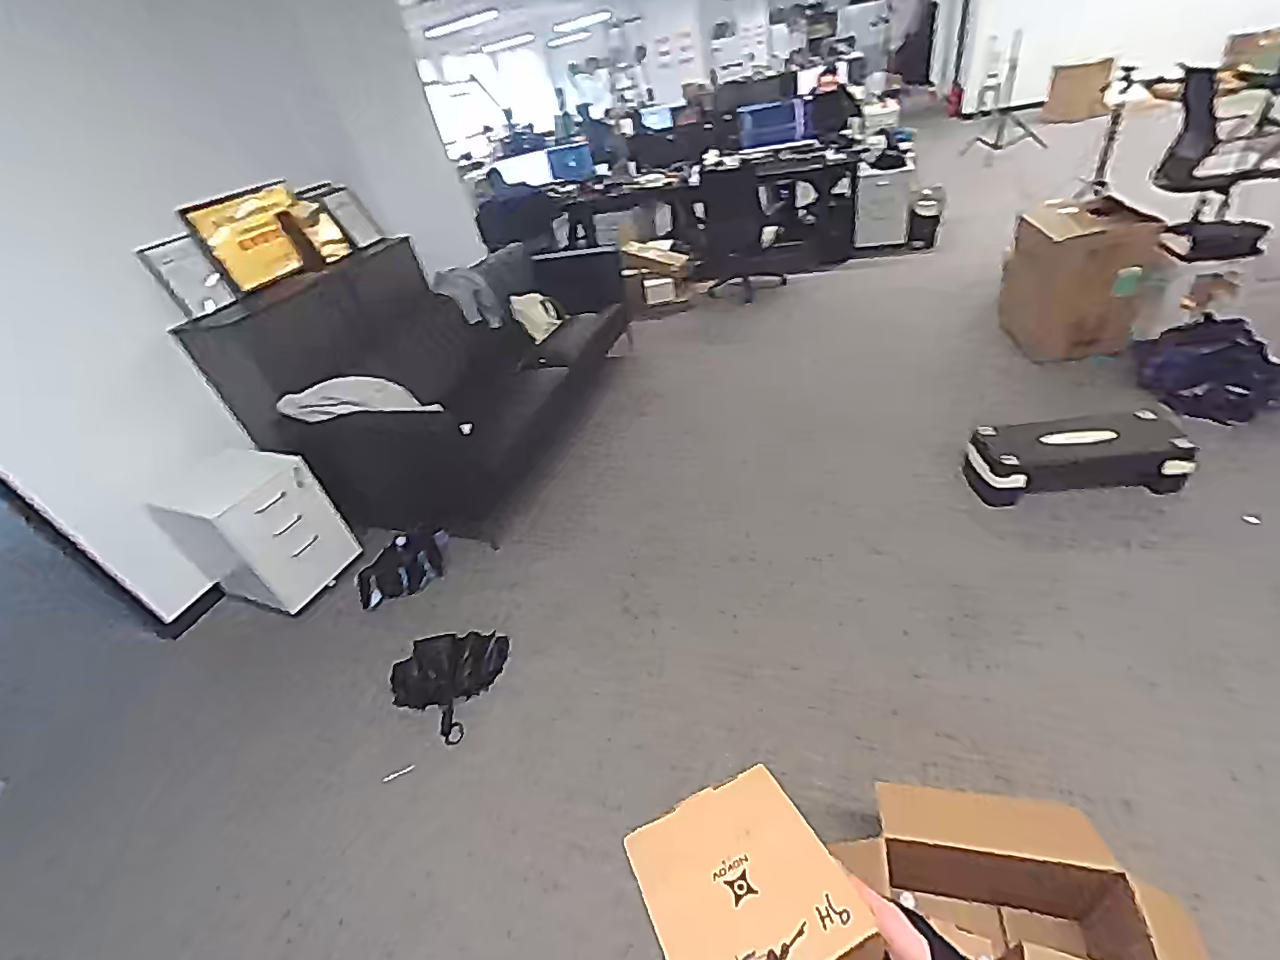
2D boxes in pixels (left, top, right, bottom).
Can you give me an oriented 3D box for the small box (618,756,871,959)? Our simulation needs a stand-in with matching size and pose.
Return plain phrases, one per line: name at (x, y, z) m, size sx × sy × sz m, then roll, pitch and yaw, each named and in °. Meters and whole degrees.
small box at (0.096, 0.419, 0.517) m, size 0.168 × 0.176 × 0.179 m, roll -21°, pitch 24°, yaw -14°
